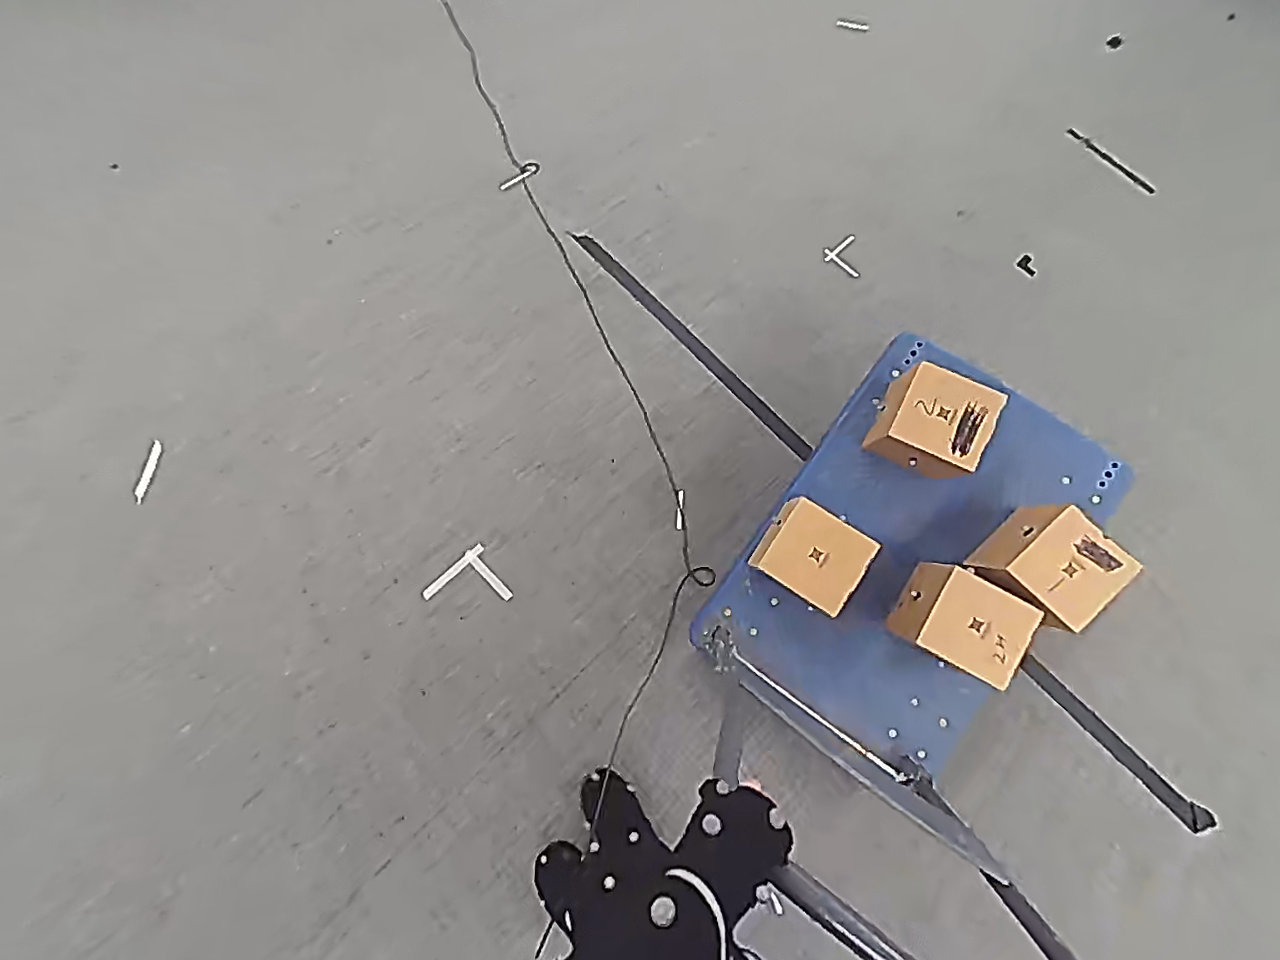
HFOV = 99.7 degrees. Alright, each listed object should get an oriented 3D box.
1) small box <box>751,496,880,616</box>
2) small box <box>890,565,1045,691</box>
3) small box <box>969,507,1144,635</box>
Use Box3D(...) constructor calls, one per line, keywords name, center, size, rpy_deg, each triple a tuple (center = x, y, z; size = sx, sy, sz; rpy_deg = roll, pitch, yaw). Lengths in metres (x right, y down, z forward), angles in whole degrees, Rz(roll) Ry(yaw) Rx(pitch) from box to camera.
Box3D(name="small box", center=(0.346, 0.153, 1.107), size=(0.179, 0.176, 0.168), rpy_deg=(33, 87, 6))
Box3D(name="small box", center=(0.628, 0.280, 1.065), size=(0.179, 0.176, 0.168), rpy_deg=(30, 88, 8))
Box3D(name="small box", center=(0.799, 0.171, 1.061), size=(0.179, 0.176, 0.168), rpy_deg=(-44, 81, 0))
